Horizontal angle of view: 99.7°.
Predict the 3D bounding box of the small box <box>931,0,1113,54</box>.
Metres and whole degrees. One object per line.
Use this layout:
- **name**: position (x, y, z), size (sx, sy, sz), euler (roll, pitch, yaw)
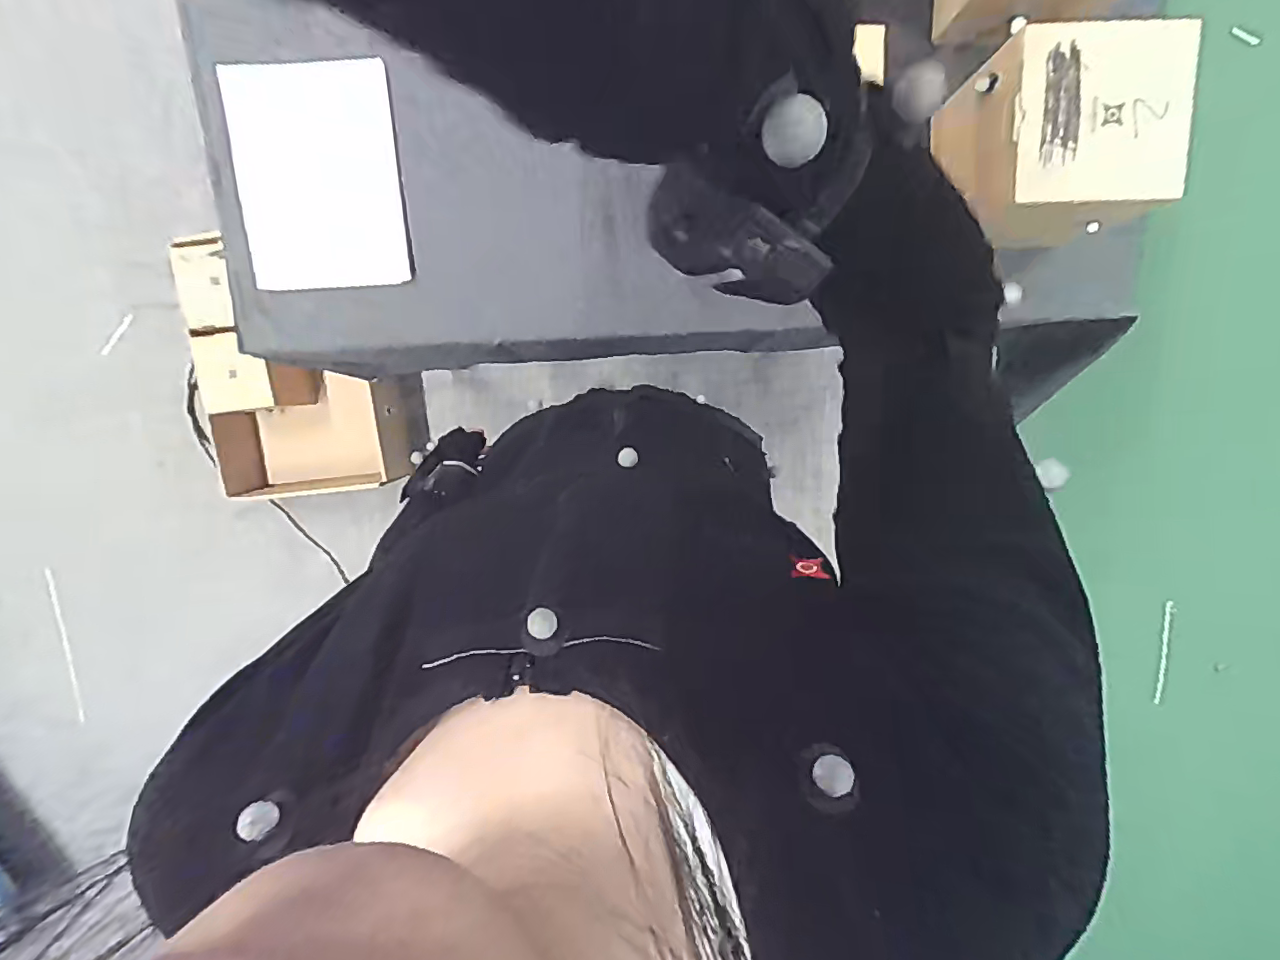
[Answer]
- **small box**: position (0.441, -0.611, 0.585), size (0.168, 0.176, 0.179), euler (1, 99, 0)
